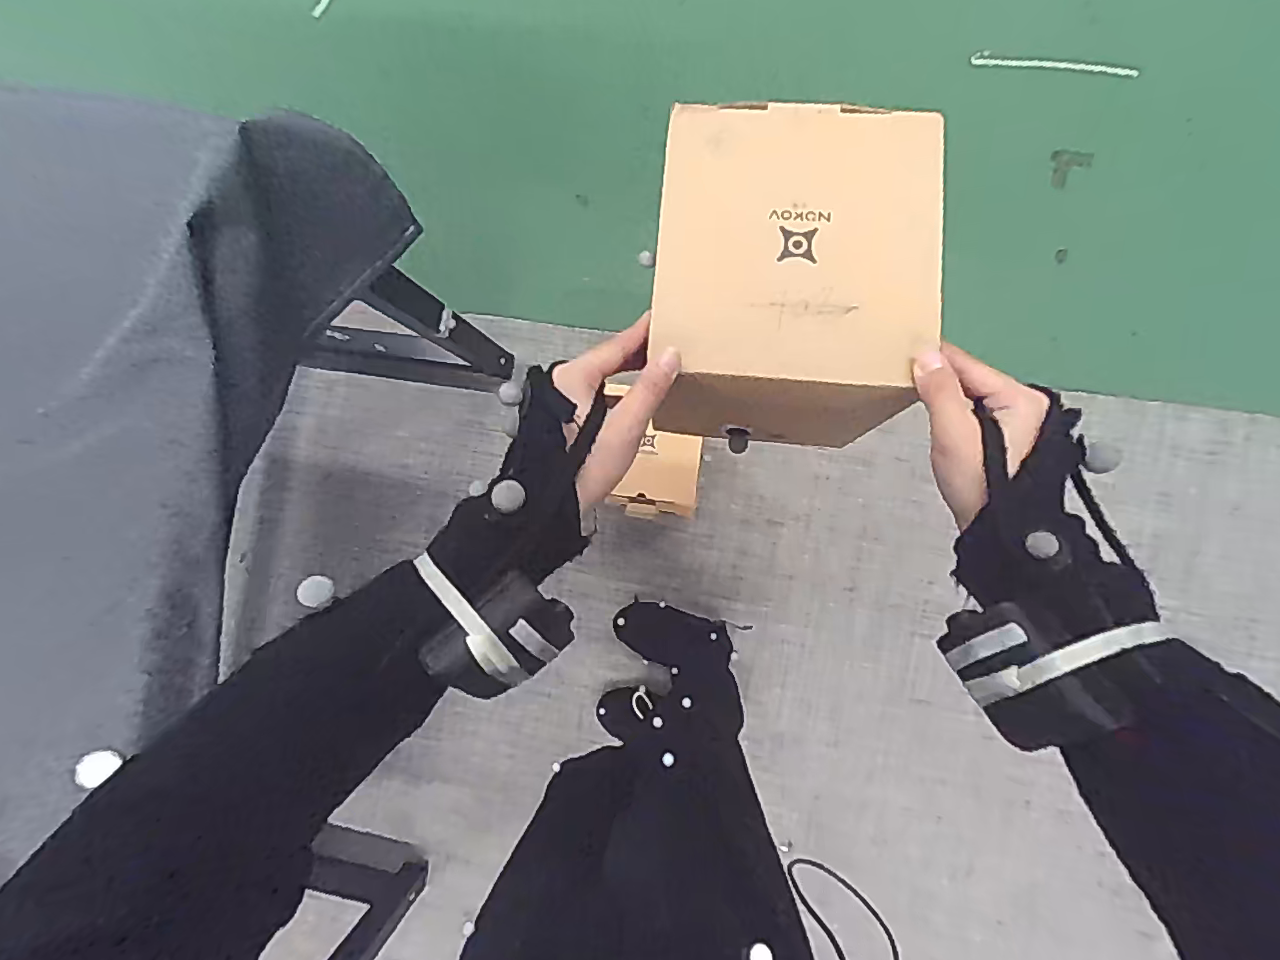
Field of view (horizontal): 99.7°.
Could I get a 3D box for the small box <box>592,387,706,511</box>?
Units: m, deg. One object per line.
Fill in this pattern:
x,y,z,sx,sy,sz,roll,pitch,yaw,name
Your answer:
0.024,-0.045,0.908,0.168,0.176,0.179,7,88,6,small box

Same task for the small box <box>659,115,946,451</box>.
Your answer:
0.103,-0.128,0.405,0.168,0.176,0.179,4,82,4,small box

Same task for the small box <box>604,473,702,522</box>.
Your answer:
0.037,-0.018,1.071,0.168,0.176,0.179,8,88,8,small box
